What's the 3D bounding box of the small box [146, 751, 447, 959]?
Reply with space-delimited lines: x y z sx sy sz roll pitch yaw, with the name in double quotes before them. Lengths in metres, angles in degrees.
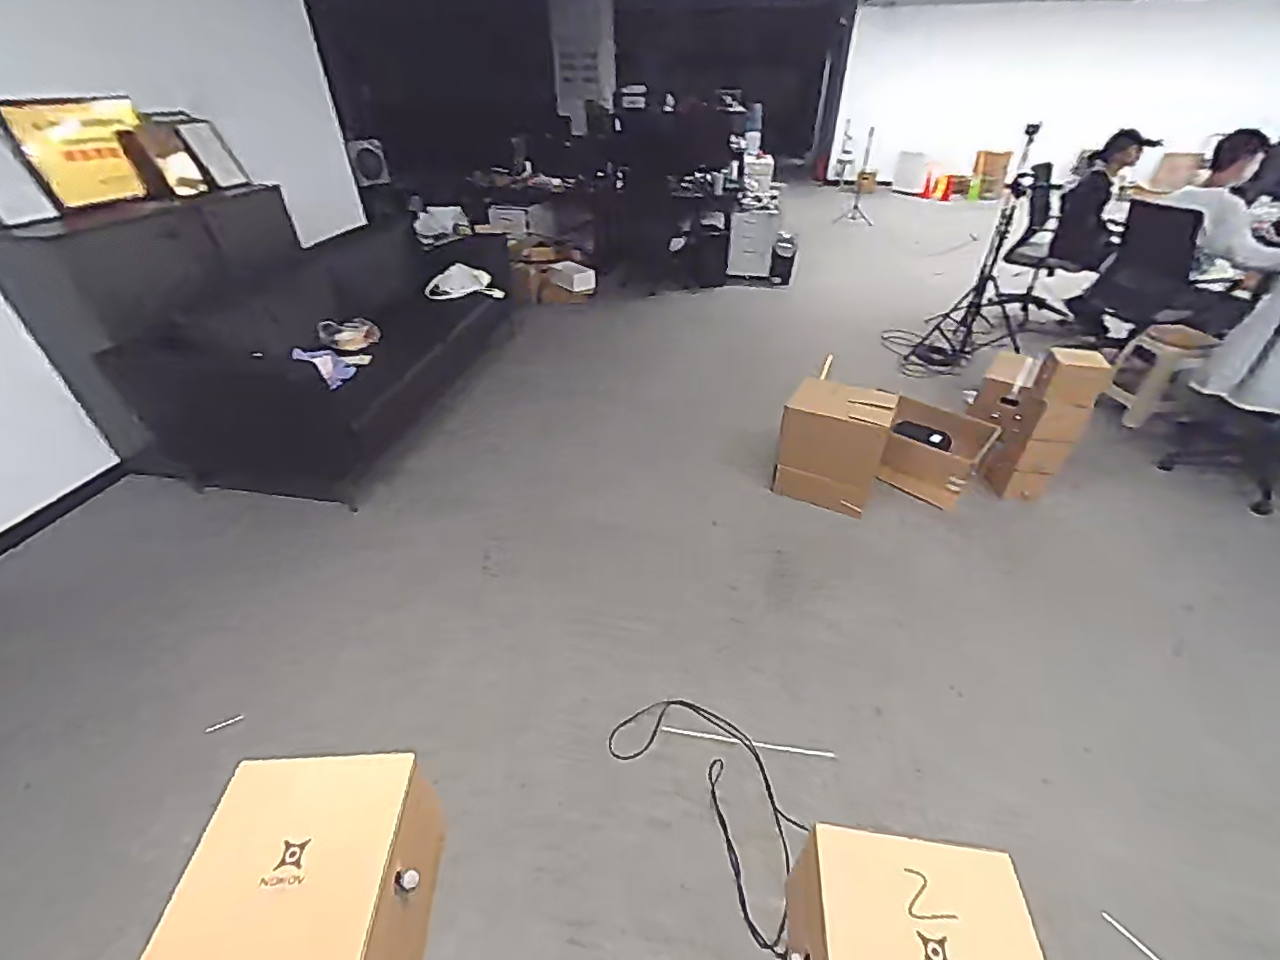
"small box" -0.291 0.381 0.507 0.168 0.176 0.179 0 39 -3
